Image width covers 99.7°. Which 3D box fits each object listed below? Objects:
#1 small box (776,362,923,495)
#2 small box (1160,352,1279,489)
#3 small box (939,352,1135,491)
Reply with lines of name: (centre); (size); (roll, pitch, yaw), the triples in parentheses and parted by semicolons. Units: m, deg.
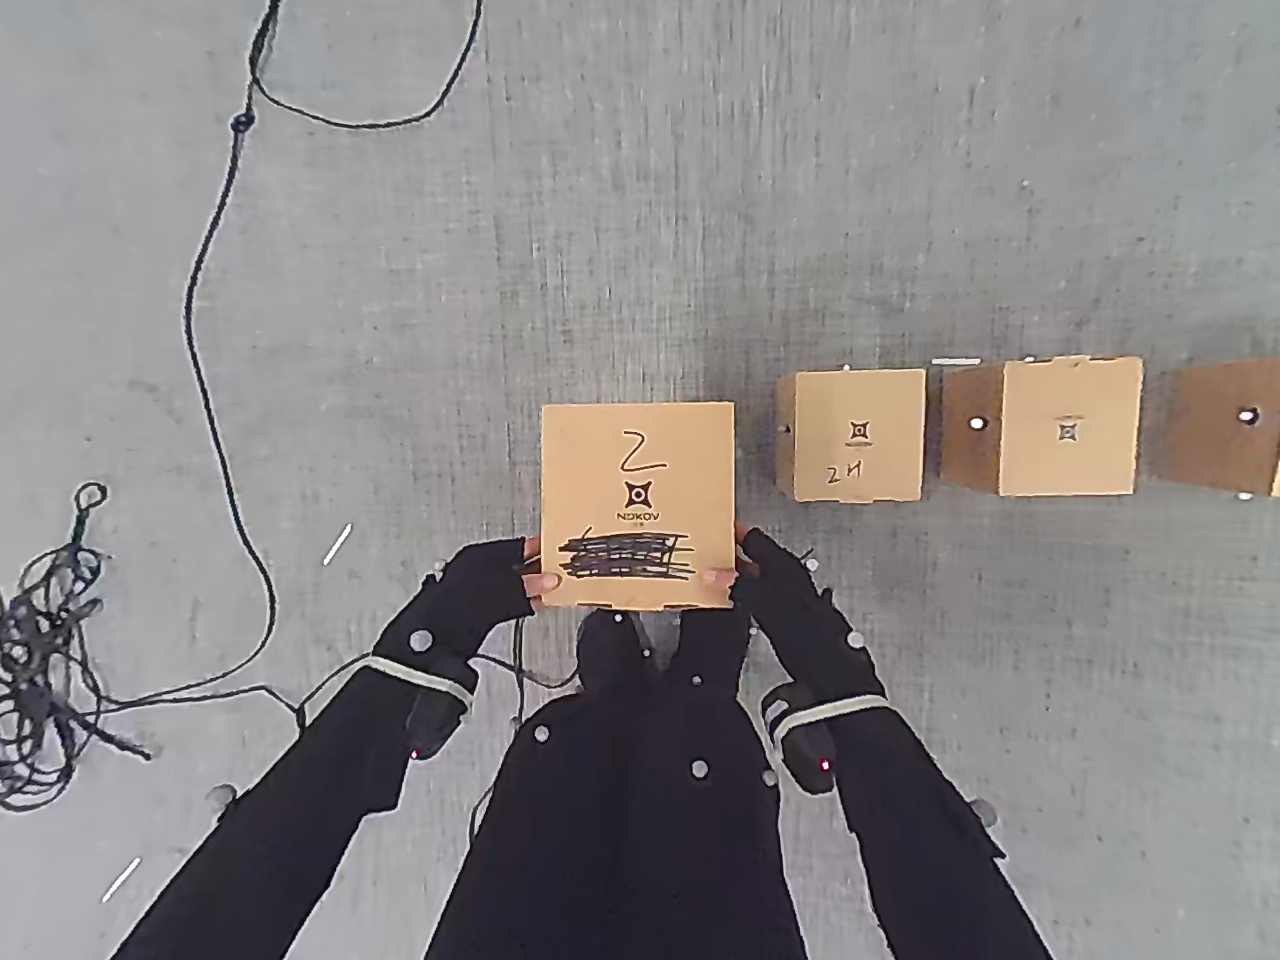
small box: (0.295, -0.073, 0.795); (0.168, 0.176, 0.179); (0, 96, 7)
small box: (0.874, -0.080, 0.739); (0.168, 0.176, 0.179); (2, 97, 6)
small box: (0.549, -0.082, 0.773); (0.168, 0.176, 0.179); (-2, 96, 6)
